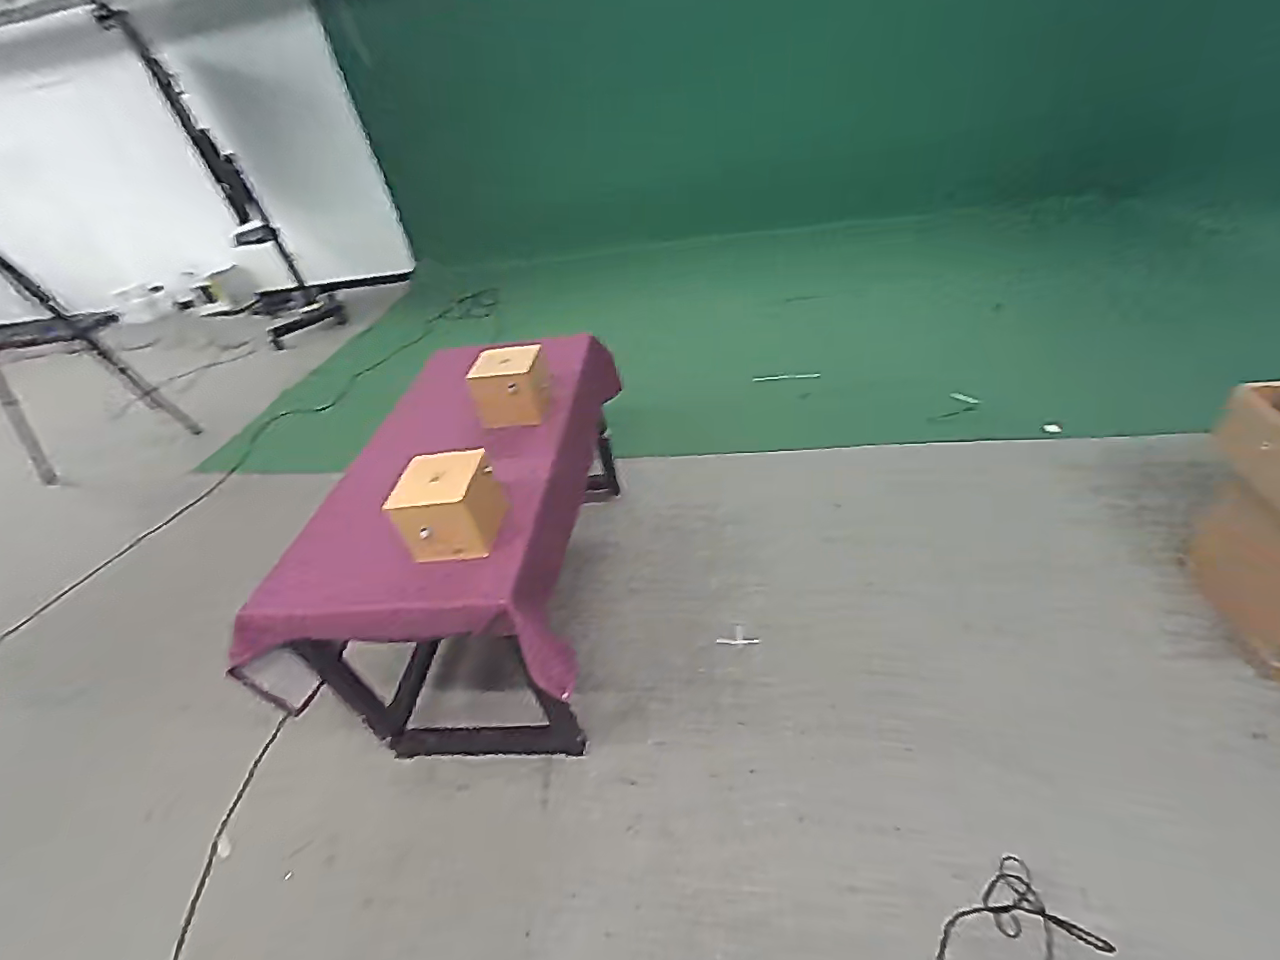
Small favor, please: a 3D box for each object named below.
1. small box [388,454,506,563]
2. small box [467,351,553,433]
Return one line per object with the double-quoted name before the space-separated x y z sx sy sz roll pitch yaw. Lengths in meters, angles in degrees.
"small box" -0.409 0.069 1.185 0.168 0.176 0.179 -7 38 8
"small box" -0.367 -0.254 1.569 0.179 0.176 0.168 -4 39 10
